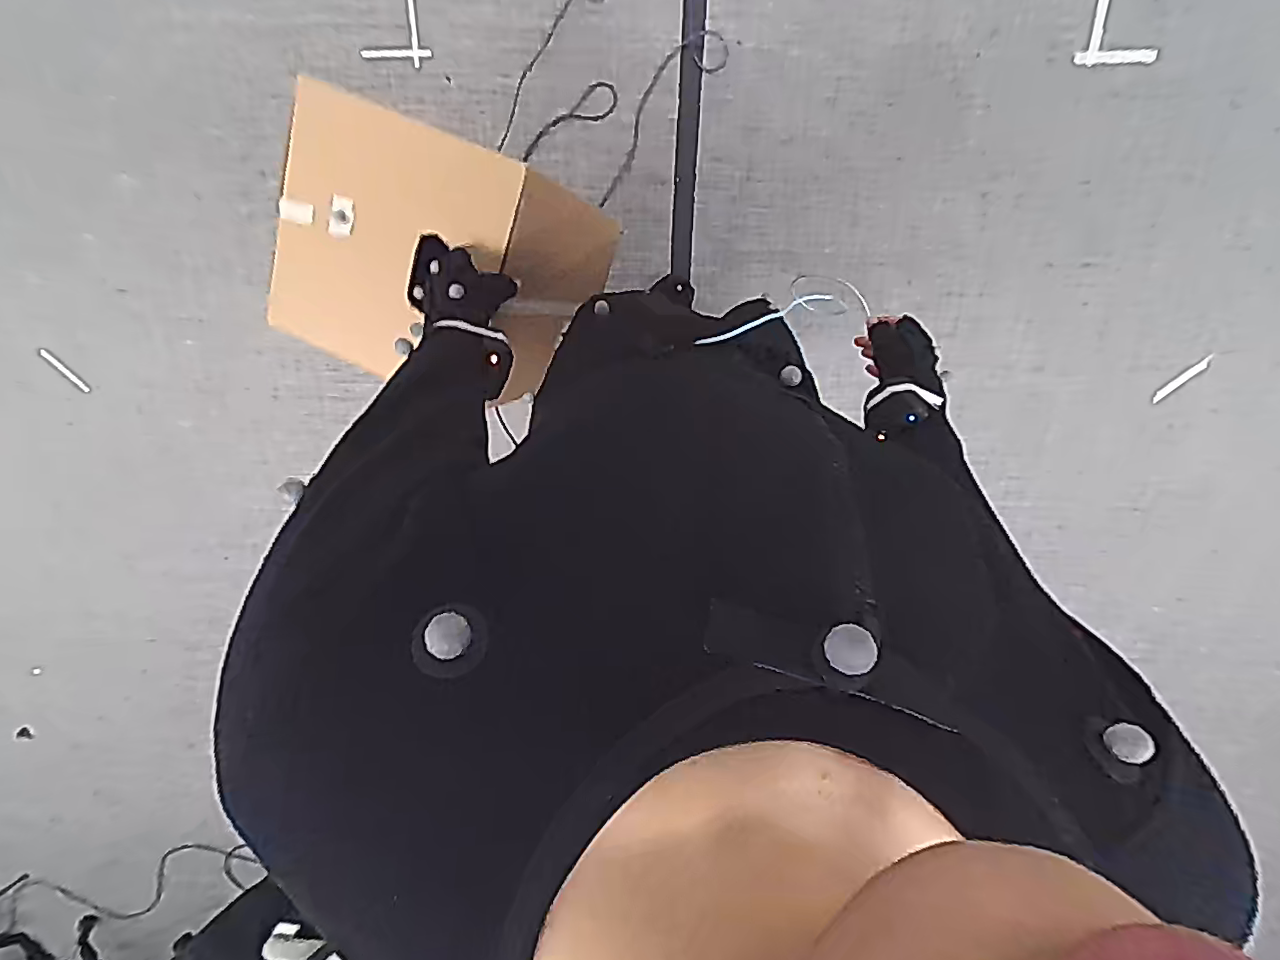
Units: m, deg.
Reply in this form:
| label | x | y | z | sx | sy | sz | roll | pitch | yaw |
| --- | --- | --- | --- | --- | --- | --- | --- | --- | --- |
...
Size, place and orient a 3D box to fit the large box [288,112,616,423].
| label | x | y | z | sx | sy | sz | roll | pitch | yaw |
| --- | --- | --- | --- | --- | --- | --- | --- | --- | --- |
| large box | -0.275 | -0.323 | 0.874 | 0.320 | 0.408 | 0.320 | 24 | 111 | 5 |
